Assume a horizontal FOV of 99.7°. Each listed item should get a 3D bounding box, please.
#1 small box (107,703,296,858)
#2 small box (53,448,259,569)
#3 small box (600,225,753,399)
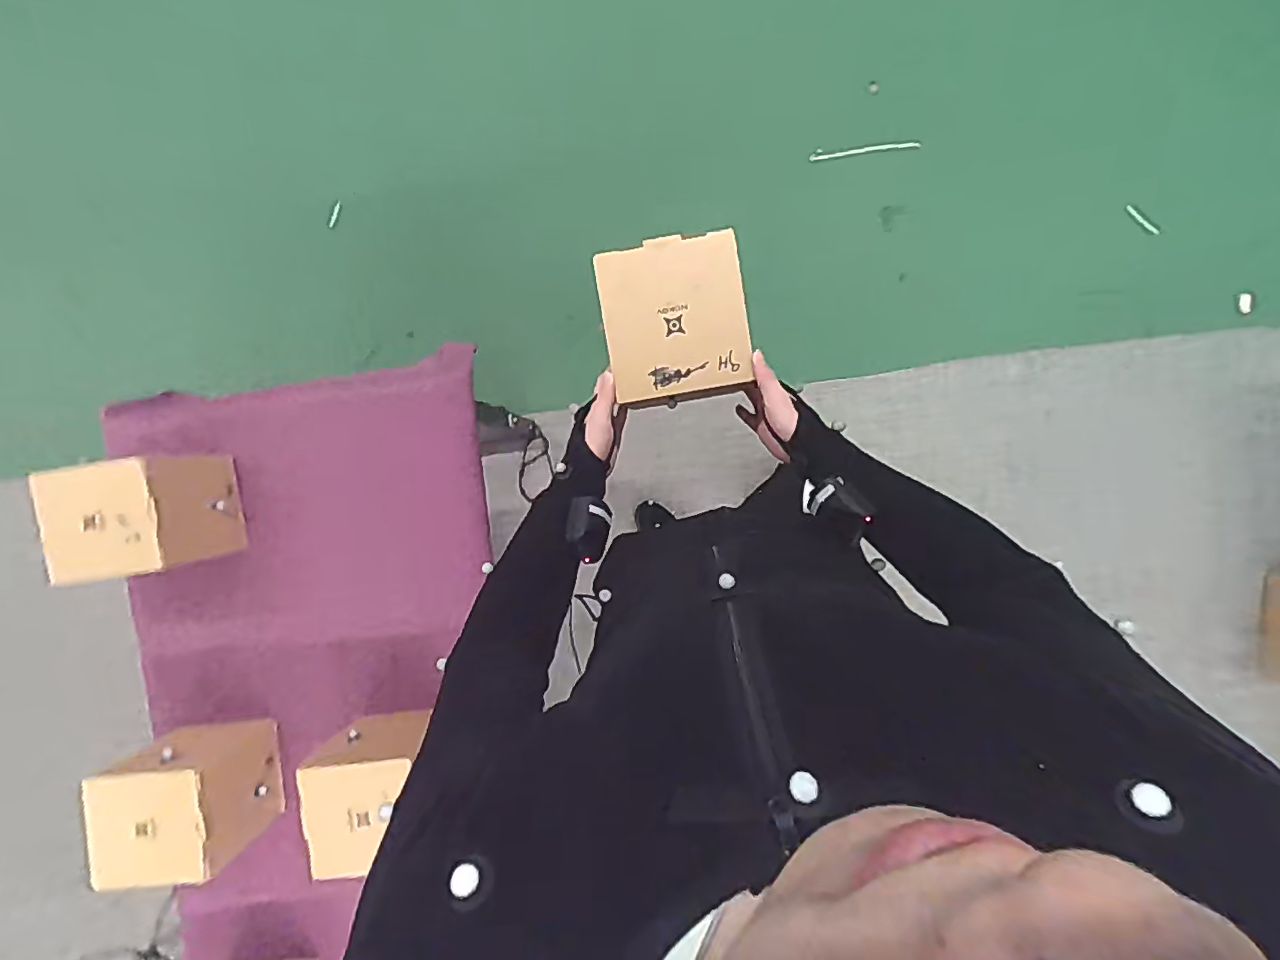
[{"bbox_3d":[-0.720,0.491,0.904,0.179,0.176,0.168,-5,91,2],"label":"small box"},{"bbox_3d":[-0.780,0.039,0.888,0.179,0.176,0.168,-8,94,3],"label":"small box"},{"bbox_3d":[0.049,-0.206,0.711,0.168,0.176,0.179,-7,96,6],"label":"small box"}]
